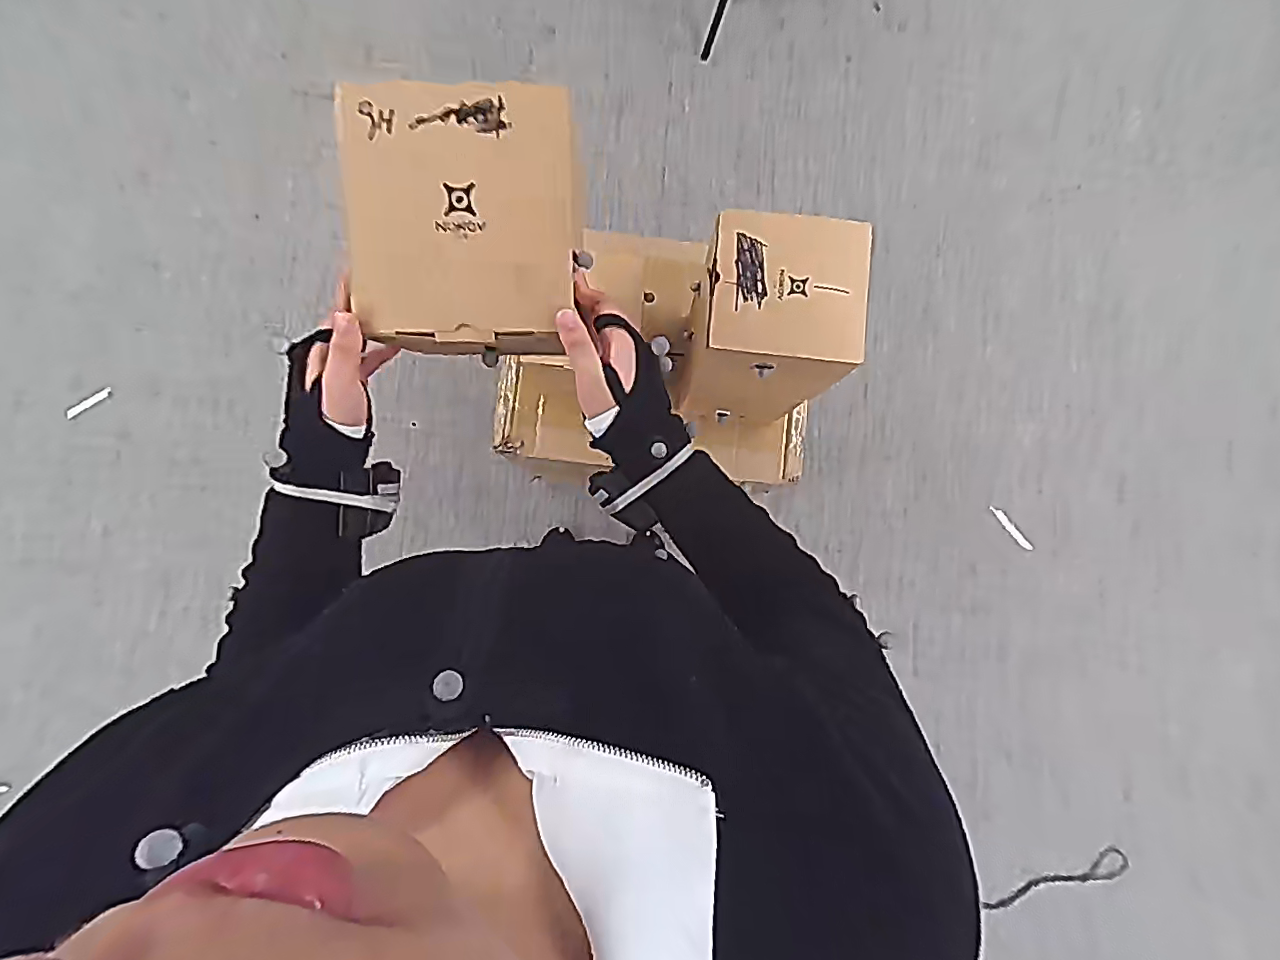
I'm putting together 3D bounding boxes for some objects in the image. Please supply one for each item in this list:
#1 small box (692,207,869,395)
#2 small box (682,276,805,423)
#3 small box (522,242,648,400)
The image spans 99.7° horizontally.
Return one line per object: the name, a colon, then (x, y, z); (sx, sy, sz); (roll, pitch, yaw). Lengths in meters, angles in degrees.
small box: (0.164, -0.212, 0.683); (0.179, 0.176, 0.168); (6, 85, -1)
small box: (0.159, -0.197, 0.847); (0.168, 0.176, 0.179); (5, 86, 0)
small box: (-0.082, -0.236, 0.838); (0.168, 0.176, 0.179); (5, 85, -3)
